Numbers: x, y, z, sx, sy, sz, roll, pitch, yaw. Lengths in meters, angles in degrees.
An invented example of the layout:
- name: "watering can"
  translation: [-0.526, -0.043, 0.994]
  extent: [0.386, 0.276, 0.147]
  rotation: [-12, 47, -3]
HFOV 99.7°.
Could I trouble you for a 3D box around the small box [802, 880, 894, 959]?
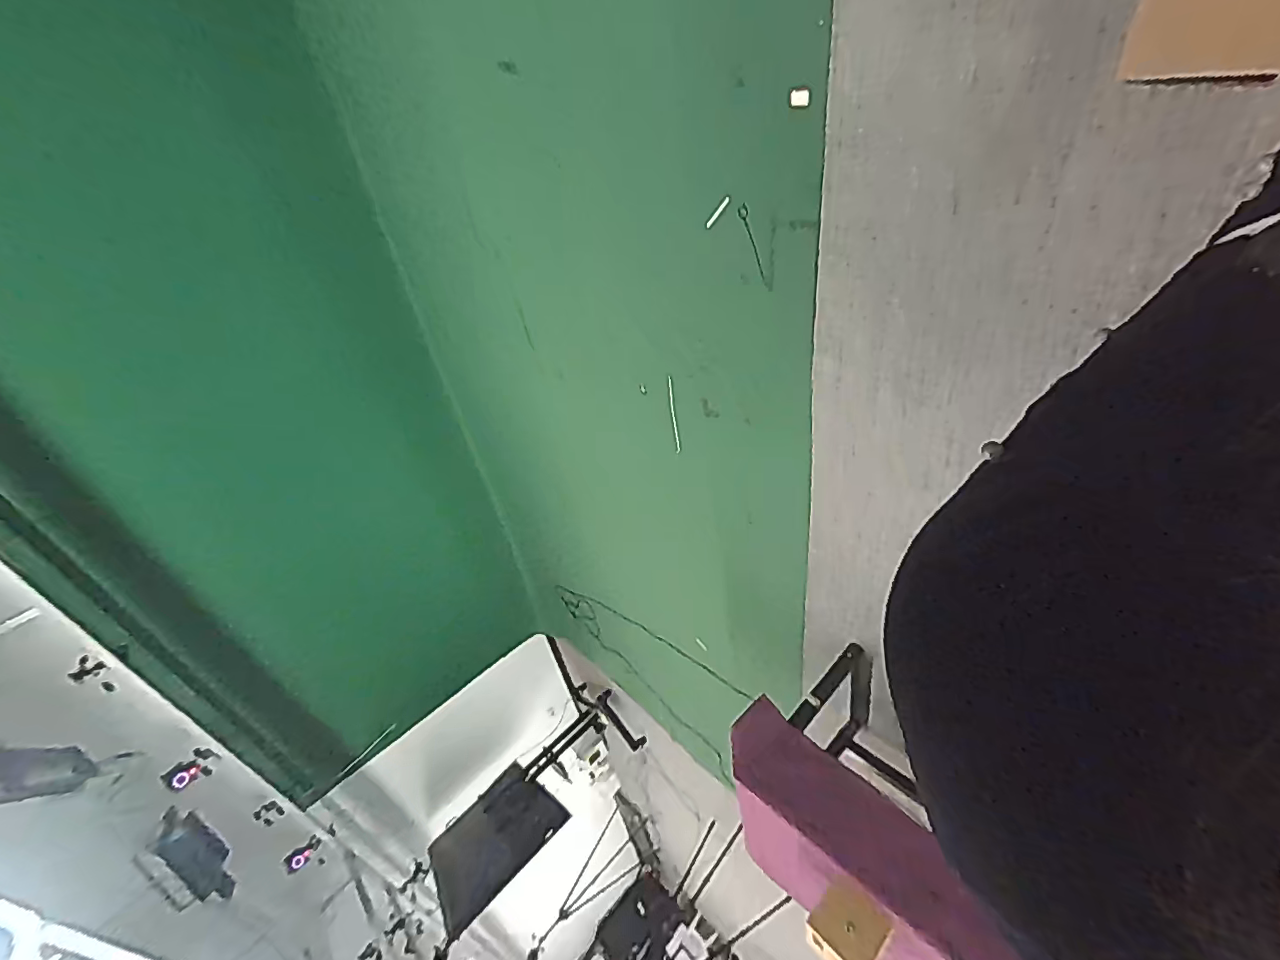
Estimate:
- name: "small box"
  translation: [0.577, 1.269, 1.511]
  extent: [0.179, 0.176, 0.168]
  rotation: [26, 140, 40]
